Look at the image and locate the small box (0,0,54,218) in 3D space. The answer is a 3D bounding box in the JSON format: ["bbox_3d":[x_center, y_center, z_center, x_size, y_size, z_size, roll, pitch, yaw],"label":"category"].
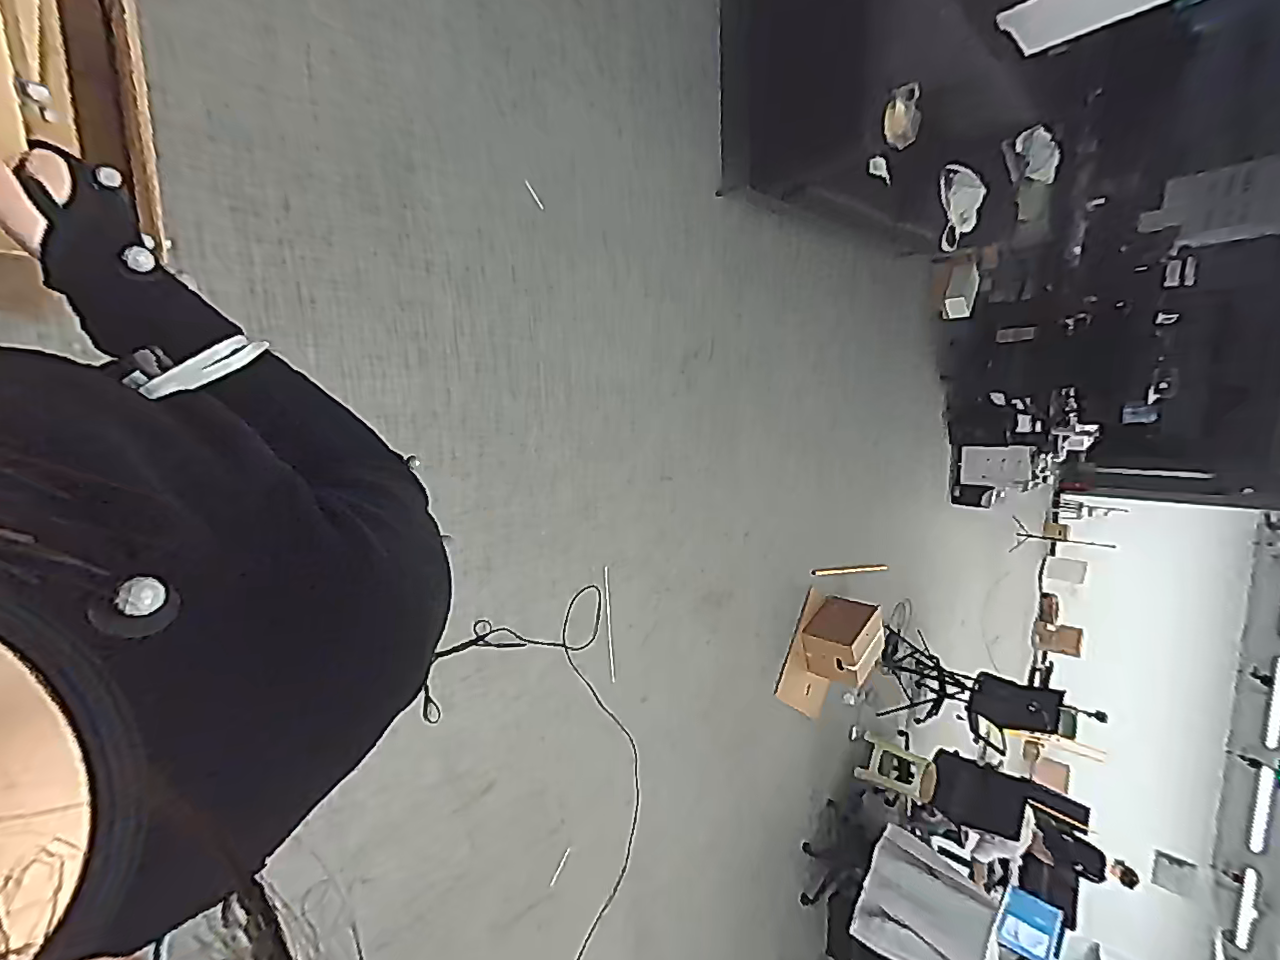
[{"bbox_3d":[-0.502,-0.275,0.333,0.168,0.176,0.179,-10,109,-41],"label":"small box"}]
